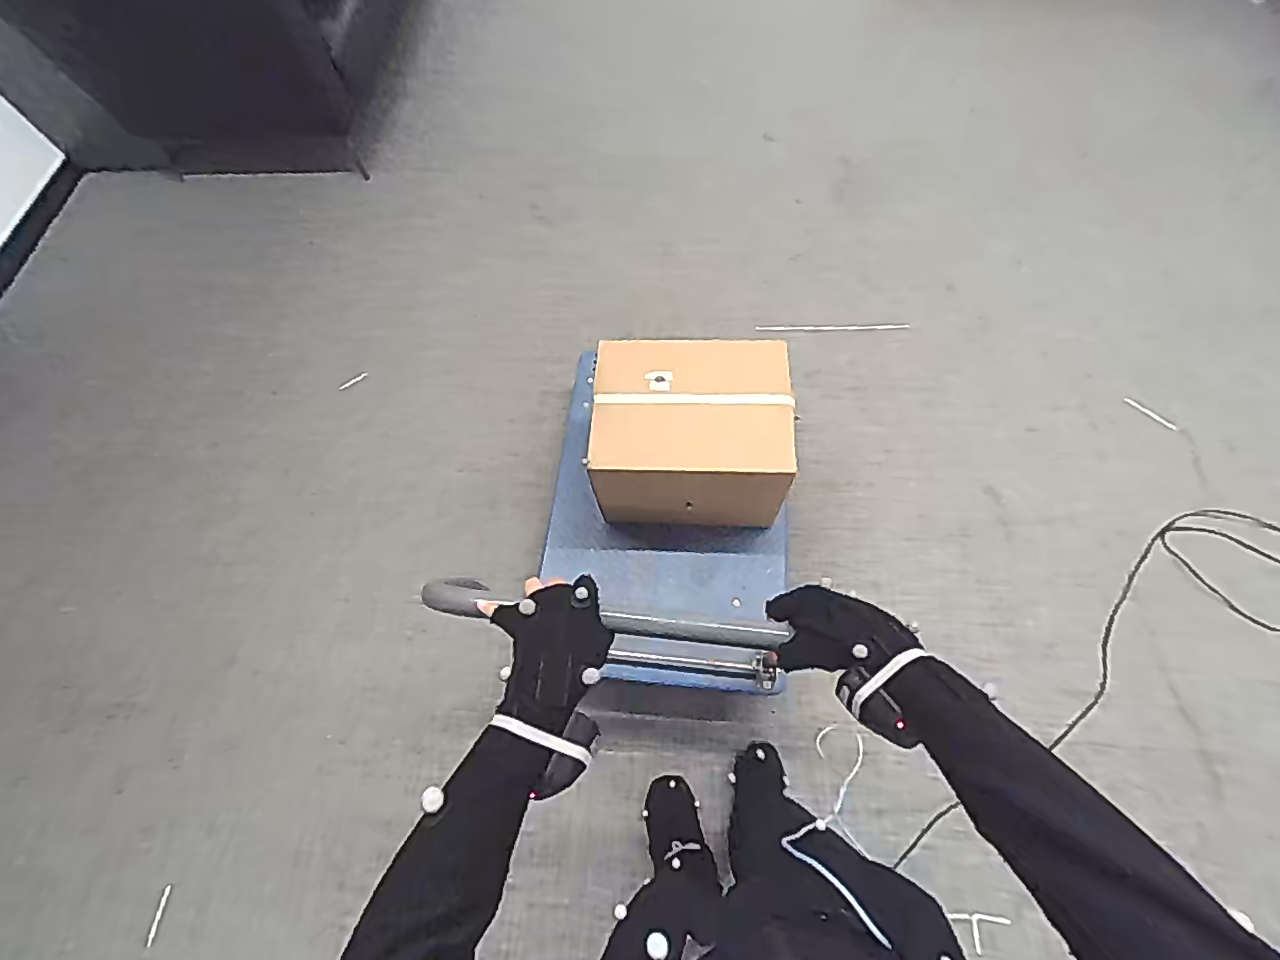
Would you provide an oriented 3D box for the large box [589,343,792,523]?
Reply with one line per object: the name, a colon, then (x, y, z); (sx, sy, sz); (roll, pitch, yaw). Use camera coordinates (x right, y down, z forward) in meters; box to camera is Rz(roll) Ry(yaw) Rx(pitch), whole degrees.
large box: (0.112, -0.092, 1.250); (0.408, 0.320, 0.320); (-1, 65, 5)
